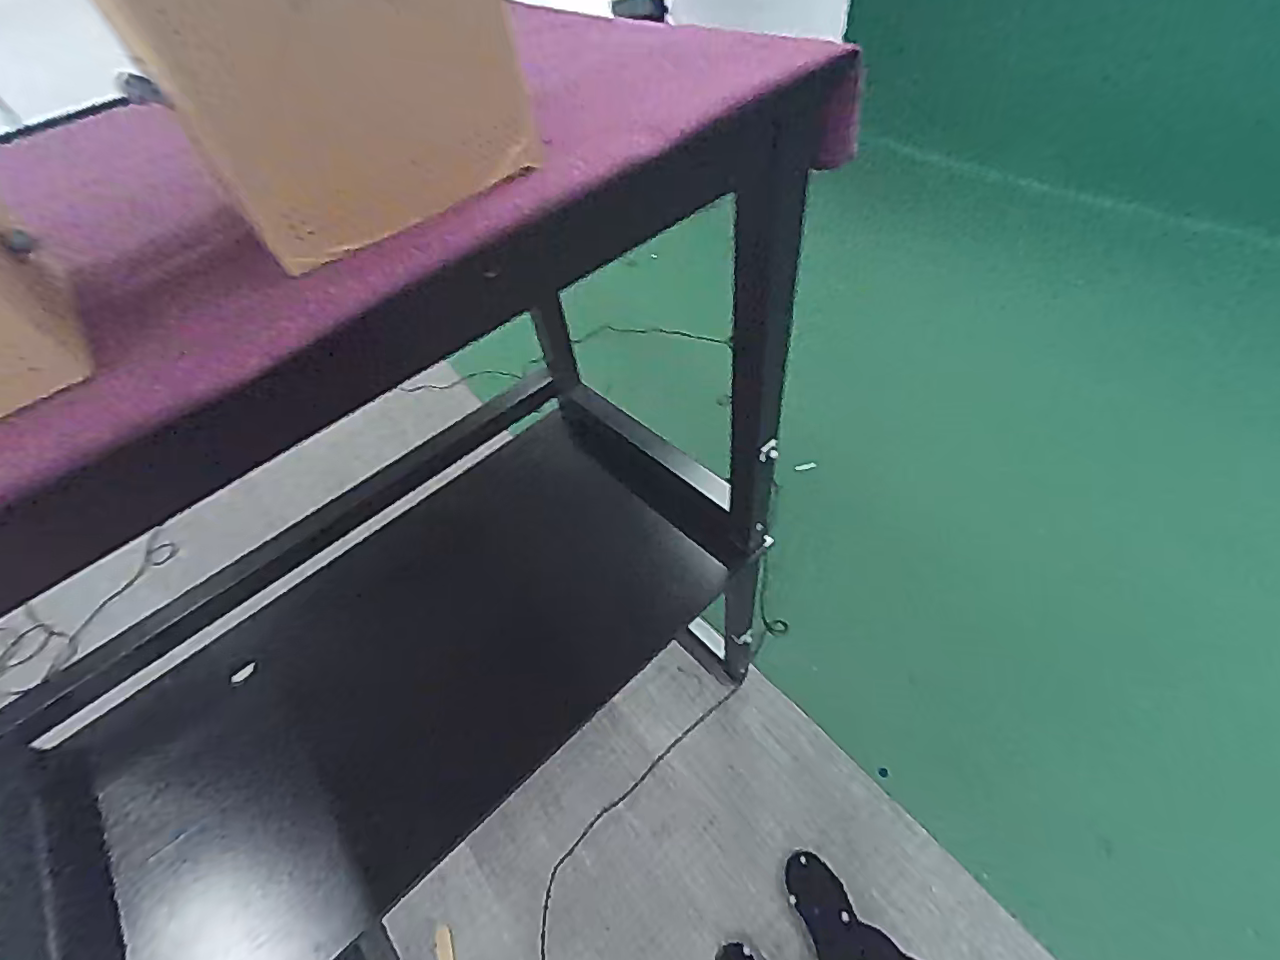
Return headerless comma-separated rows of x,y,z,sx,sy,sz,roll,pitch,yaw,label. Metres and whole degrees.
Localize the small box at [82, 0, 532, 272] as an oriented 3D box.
-0.191,-0.251,0.314,0.179,0.176,0.168,-37,57,-19,small box
